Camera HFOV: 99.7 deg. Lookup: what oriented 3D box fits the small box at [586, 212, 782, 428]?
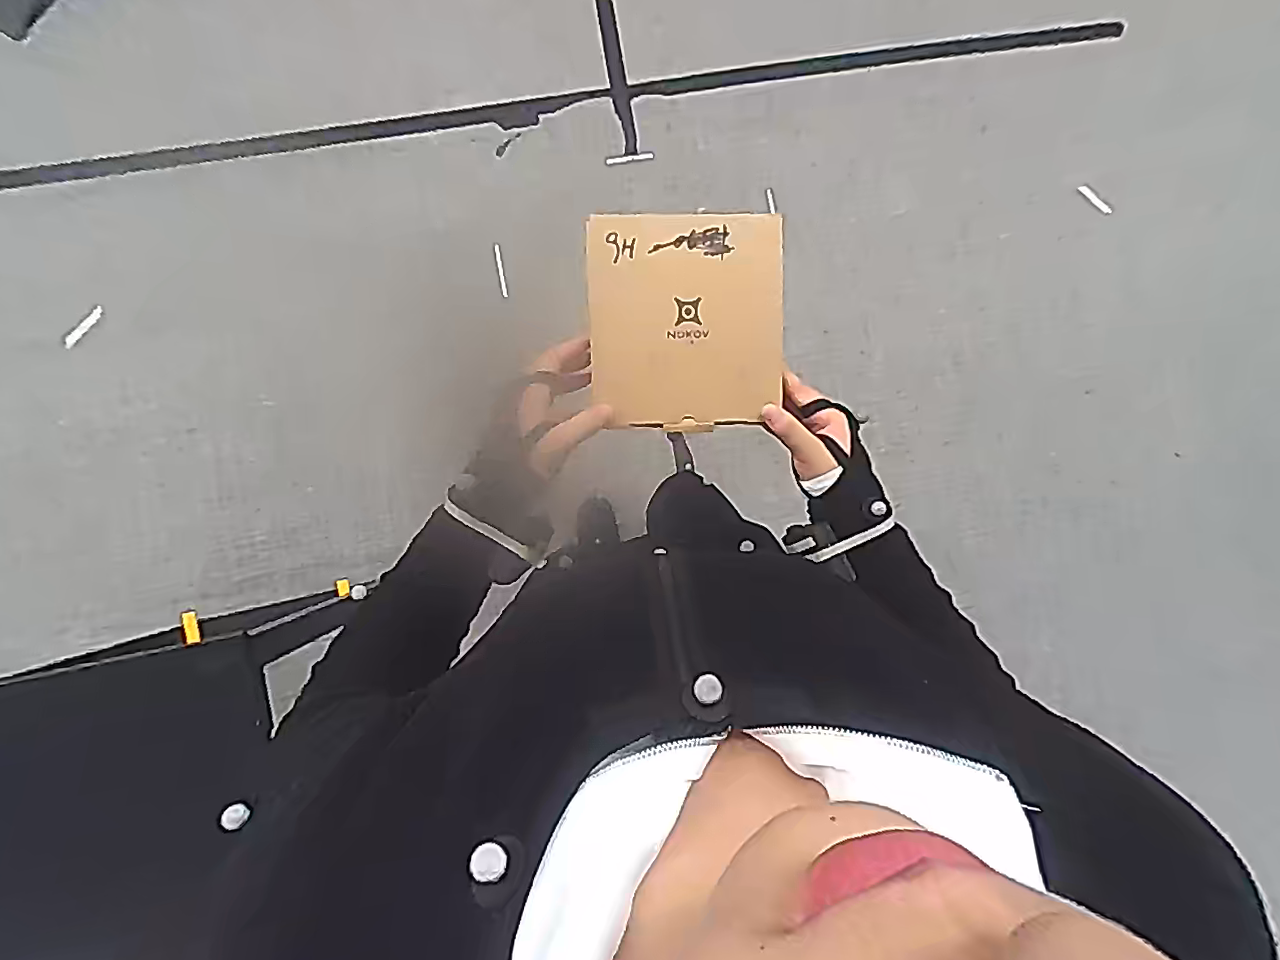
[{"bbox_3d":[0.035,-0.146,0.537,0.168,0.176,0.179,-3,98,-4],"label":"small box"}]
